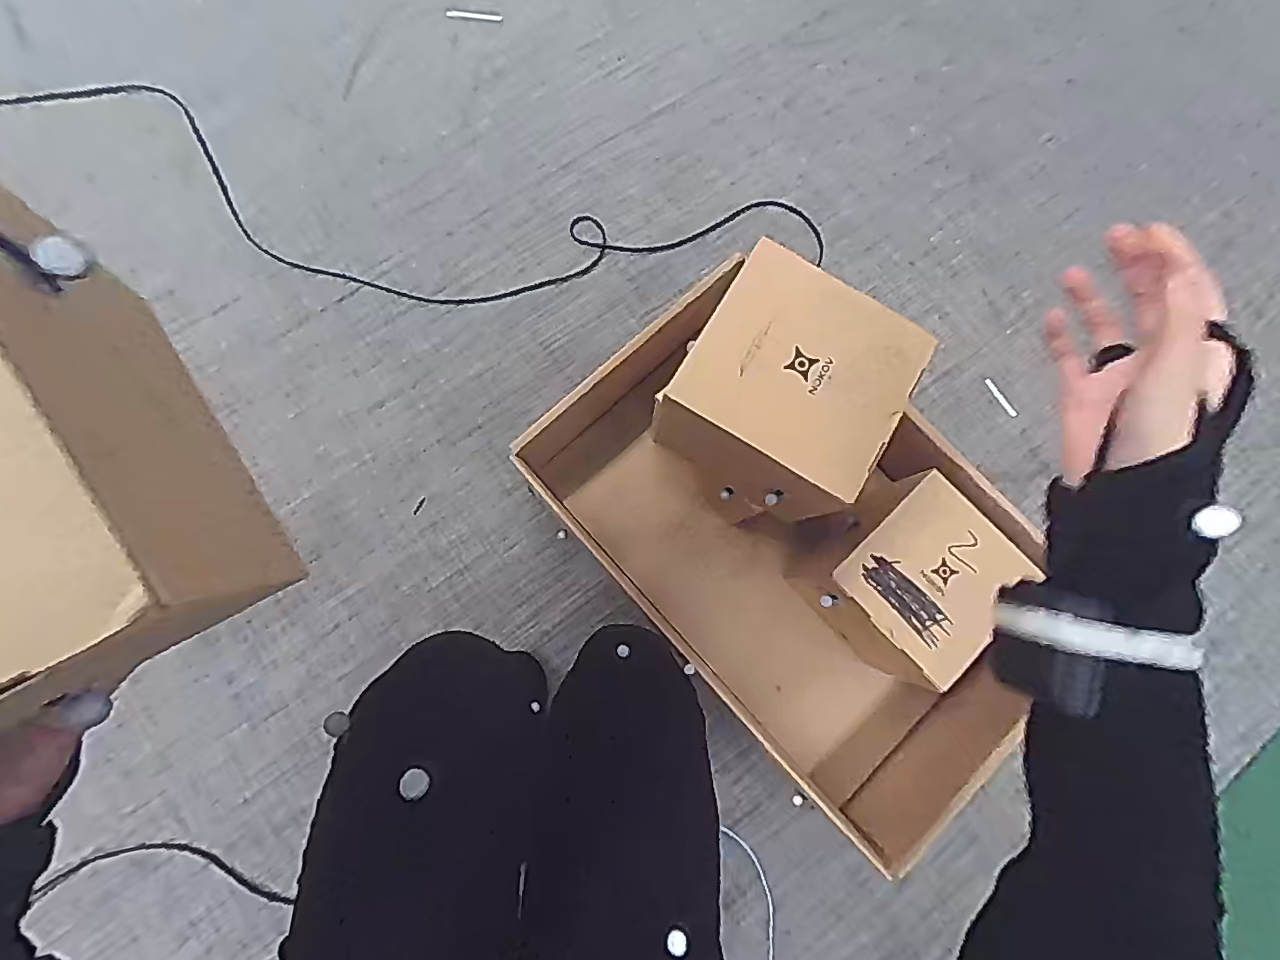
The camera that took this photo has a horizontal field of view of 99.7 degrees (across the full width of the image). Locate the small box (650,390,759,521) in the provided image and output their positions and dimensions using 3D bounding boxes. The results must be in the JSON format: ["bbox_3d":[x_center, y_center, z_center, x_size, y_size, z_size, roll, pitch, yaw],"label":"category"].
[{"bbox_3d":[0.127,-0.063,0.684,0.168,0.176,0.179,-41,86,-8],"label":"small box"}]

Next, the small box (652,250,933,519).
[{"bbox_3d":[0.127,-0.073,0.521,0.179,0.176,0.168,32,81,3],"label":"small box"}]

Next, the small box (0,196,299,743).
[{"bbox_3d":[-0.267,0.011,0.200,0.168,0.176,0.179,-29,95,-20],"label":"small box"}]
